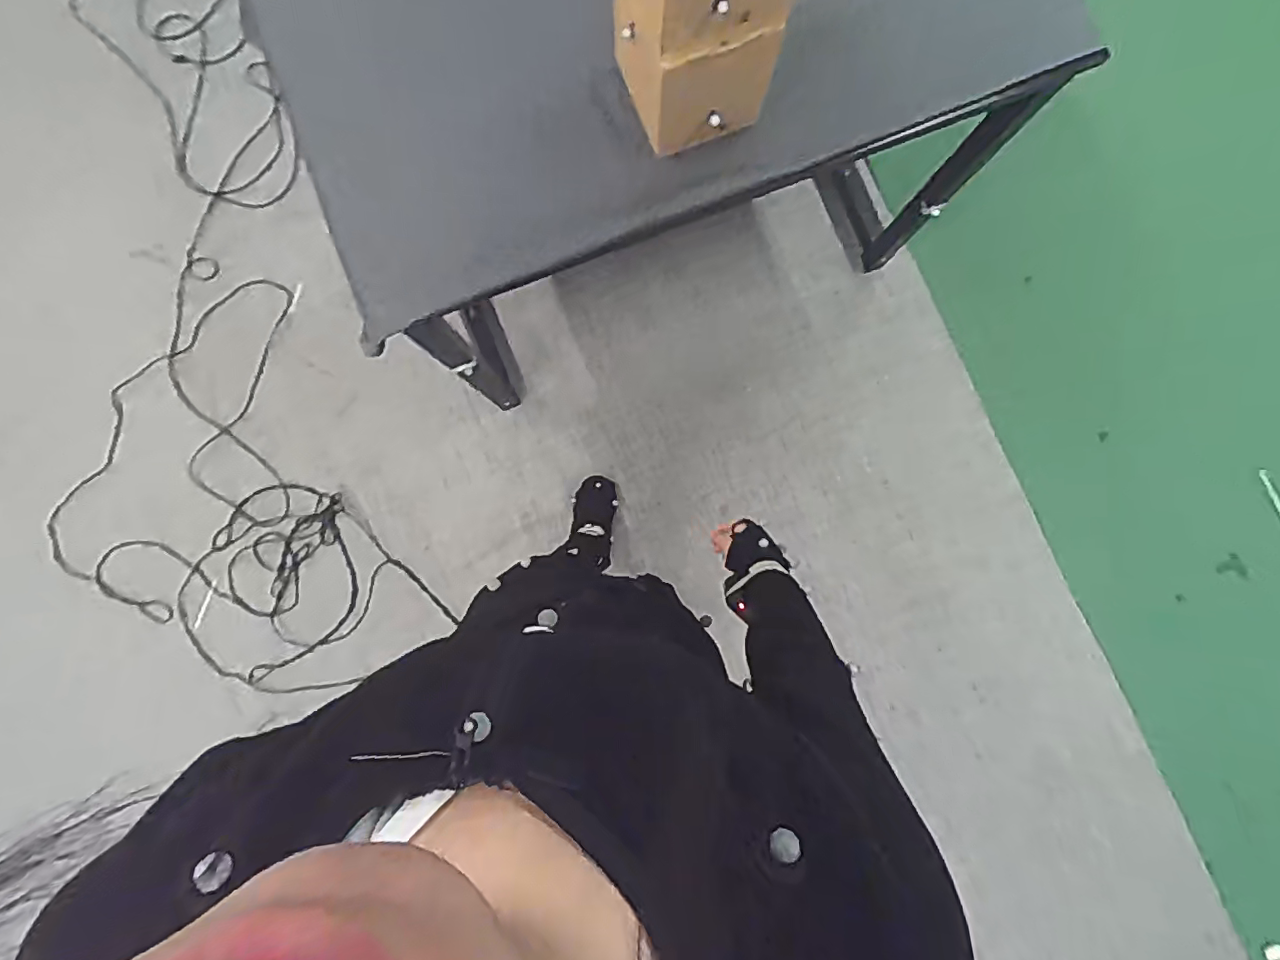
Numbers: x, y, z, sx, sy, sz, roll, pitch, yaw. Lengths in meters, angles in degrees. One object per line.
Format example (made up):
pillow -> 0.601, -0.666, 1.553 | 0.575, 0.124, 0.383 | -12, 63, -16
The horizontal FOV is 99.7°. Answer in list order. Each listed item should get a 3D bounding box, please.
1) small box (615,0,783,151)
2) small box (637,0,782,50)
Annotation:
small box -> 0.067, -0.601, 0.735 | 0.168, 0.176, 0.179 | -22, 87, -2
small box -> 0.068, -0.621, 0.574 | 0.168, 0.176, 0.179 | -21, 87, -3
